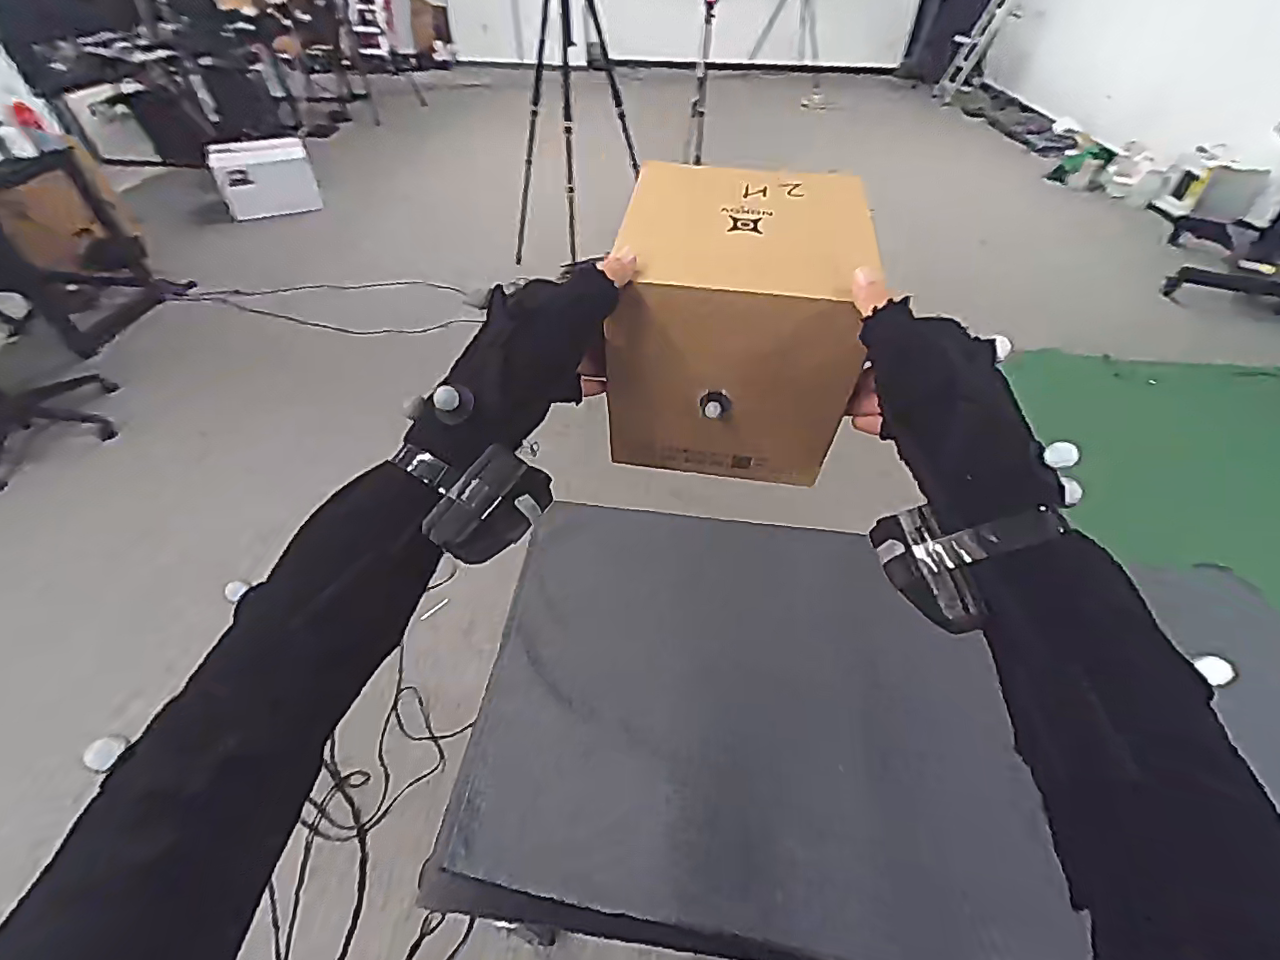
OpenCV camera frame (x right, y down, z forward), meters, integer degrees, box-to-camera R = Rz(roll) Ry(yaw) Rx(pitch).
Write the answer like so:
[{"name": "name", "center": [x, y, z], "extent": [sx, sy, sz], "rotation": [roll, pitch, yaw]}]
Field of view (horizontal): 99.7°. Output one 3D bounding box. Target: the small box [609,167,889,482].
[{"name": "small box", "center": [0.077, -0.120, 0.427], "extent": [0.168, 0.176, 0.179], "rotation": [8, 51, 6]}]
